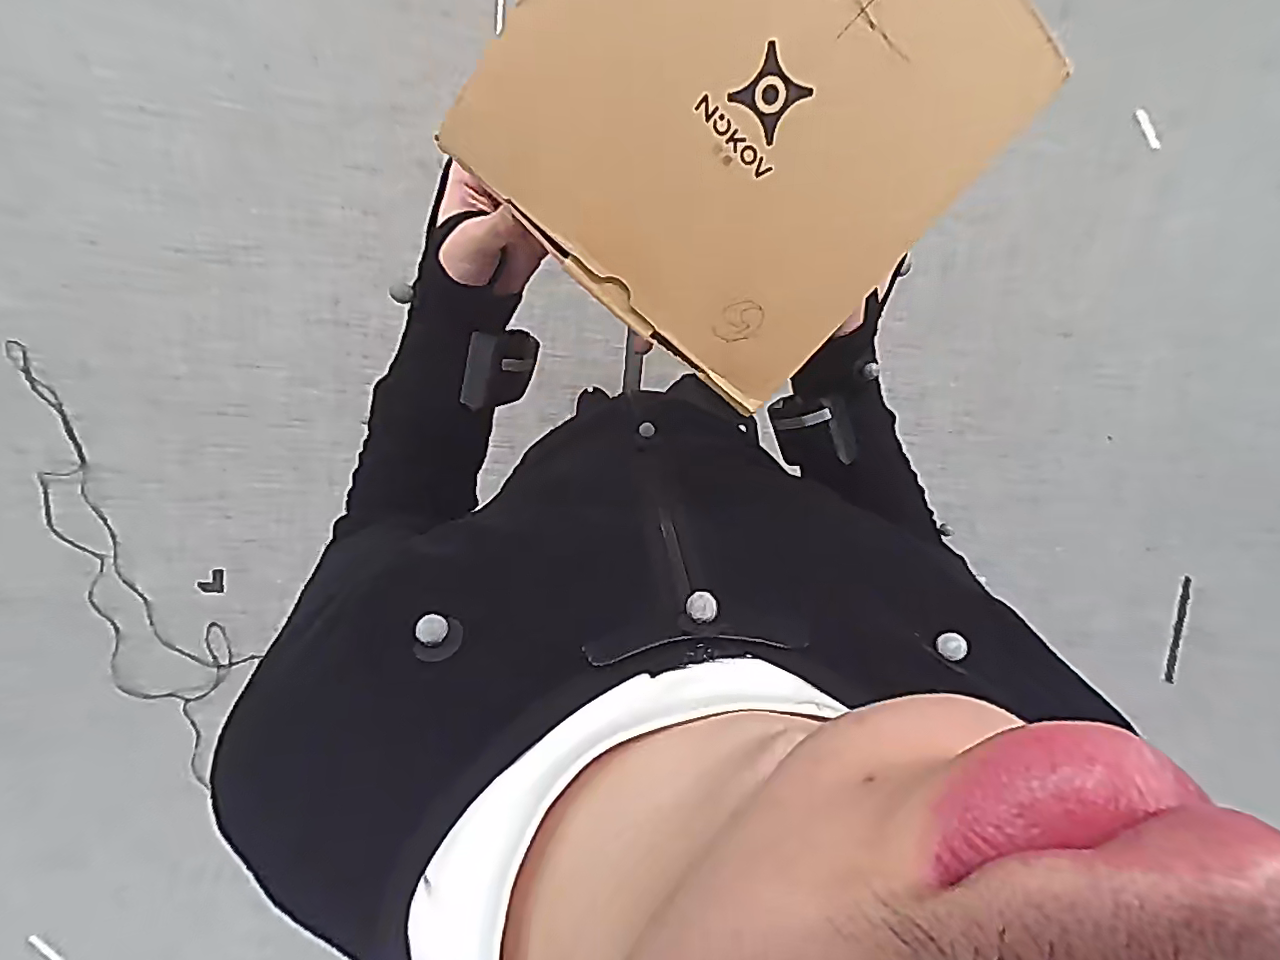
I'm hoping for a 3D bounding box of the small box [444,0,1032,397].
[{"bbox_3d":[0.033,-0.176,0.281,0.168,0.176,0.179,36,104,-20],"label":"small box"}]
